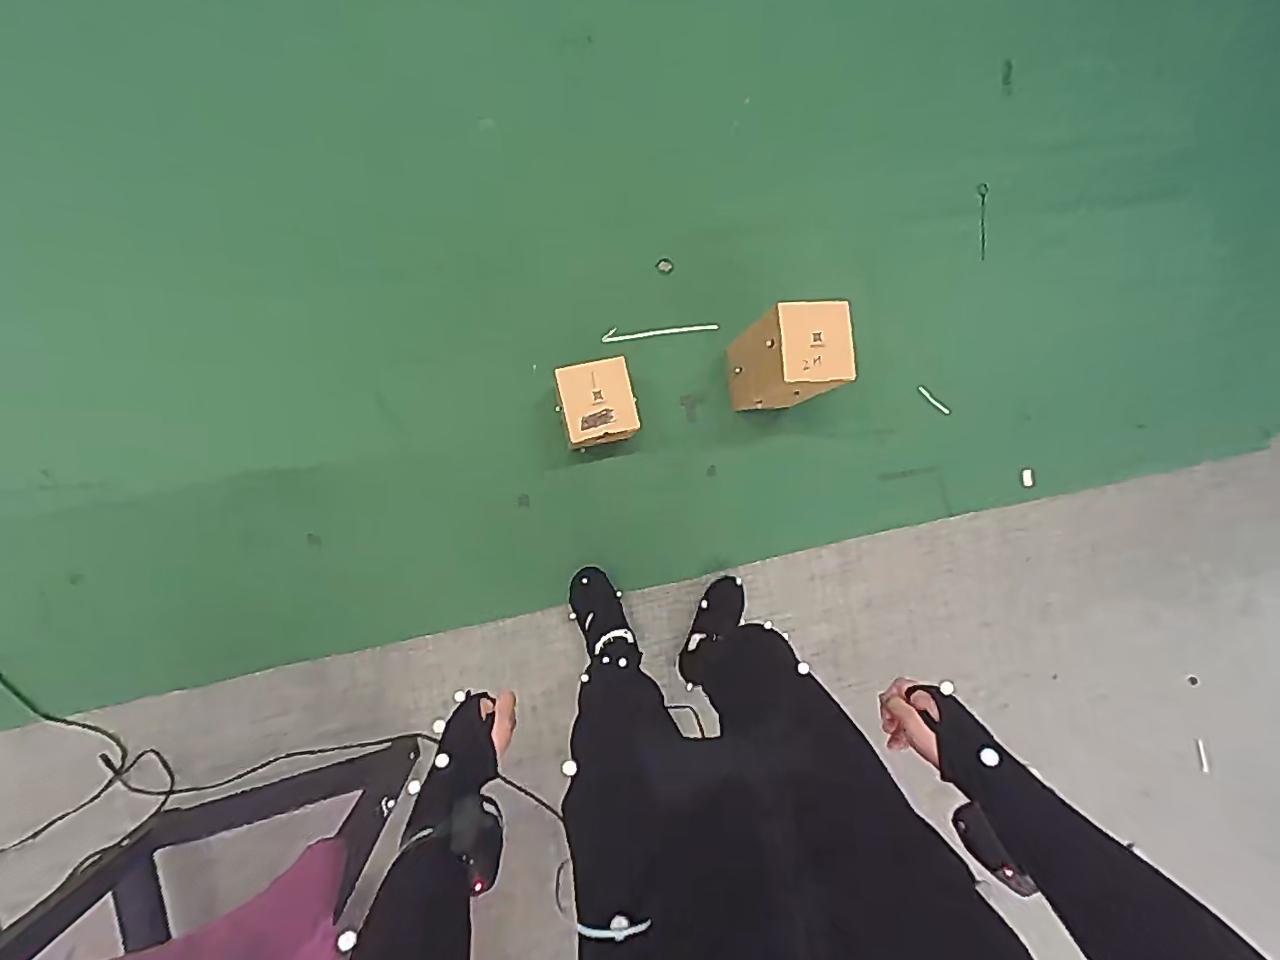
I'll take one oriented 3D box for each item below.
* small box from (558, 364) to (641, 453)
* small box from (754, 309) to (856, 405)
[{"bbox_3d":[-0.102,-0.166,1.322,0.168,0.176,0.179,-13,88,-10],"label":"small box"},{"bbox_3d":[0.369,-0.276,1.237,0.168,0.176,0.179,-4,88,-9],"label":"small box"}]
